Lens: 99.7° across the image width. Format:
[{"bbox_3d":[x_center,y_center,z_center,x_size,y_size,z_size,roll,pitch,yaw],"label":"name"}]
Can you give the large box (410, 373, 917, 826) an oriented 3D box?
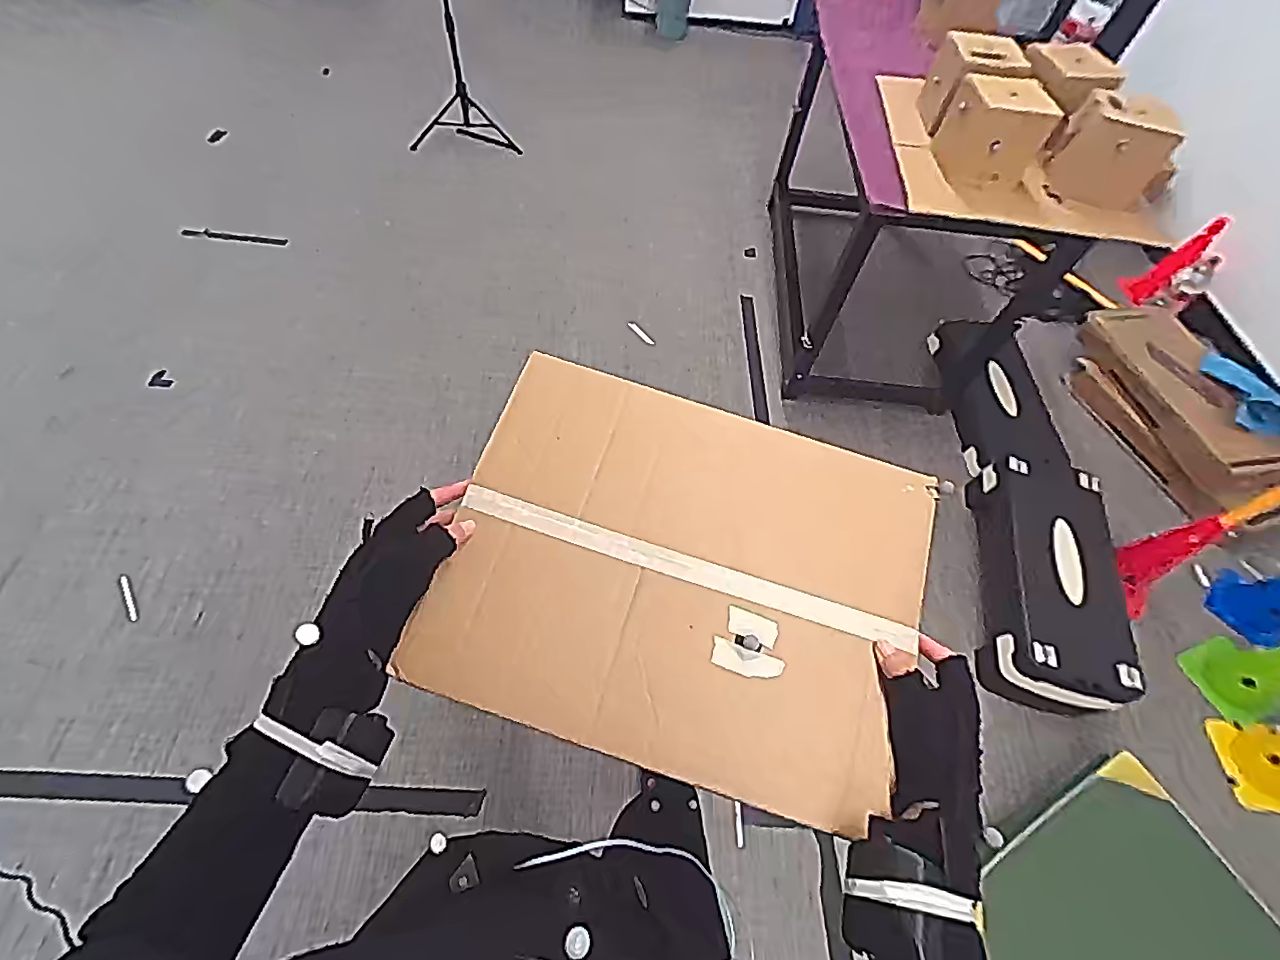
[{"bbox_3d":[0.029,0.134,0.625,0.408,0.320,0.320,18,70,2],"label":"large box"}]
